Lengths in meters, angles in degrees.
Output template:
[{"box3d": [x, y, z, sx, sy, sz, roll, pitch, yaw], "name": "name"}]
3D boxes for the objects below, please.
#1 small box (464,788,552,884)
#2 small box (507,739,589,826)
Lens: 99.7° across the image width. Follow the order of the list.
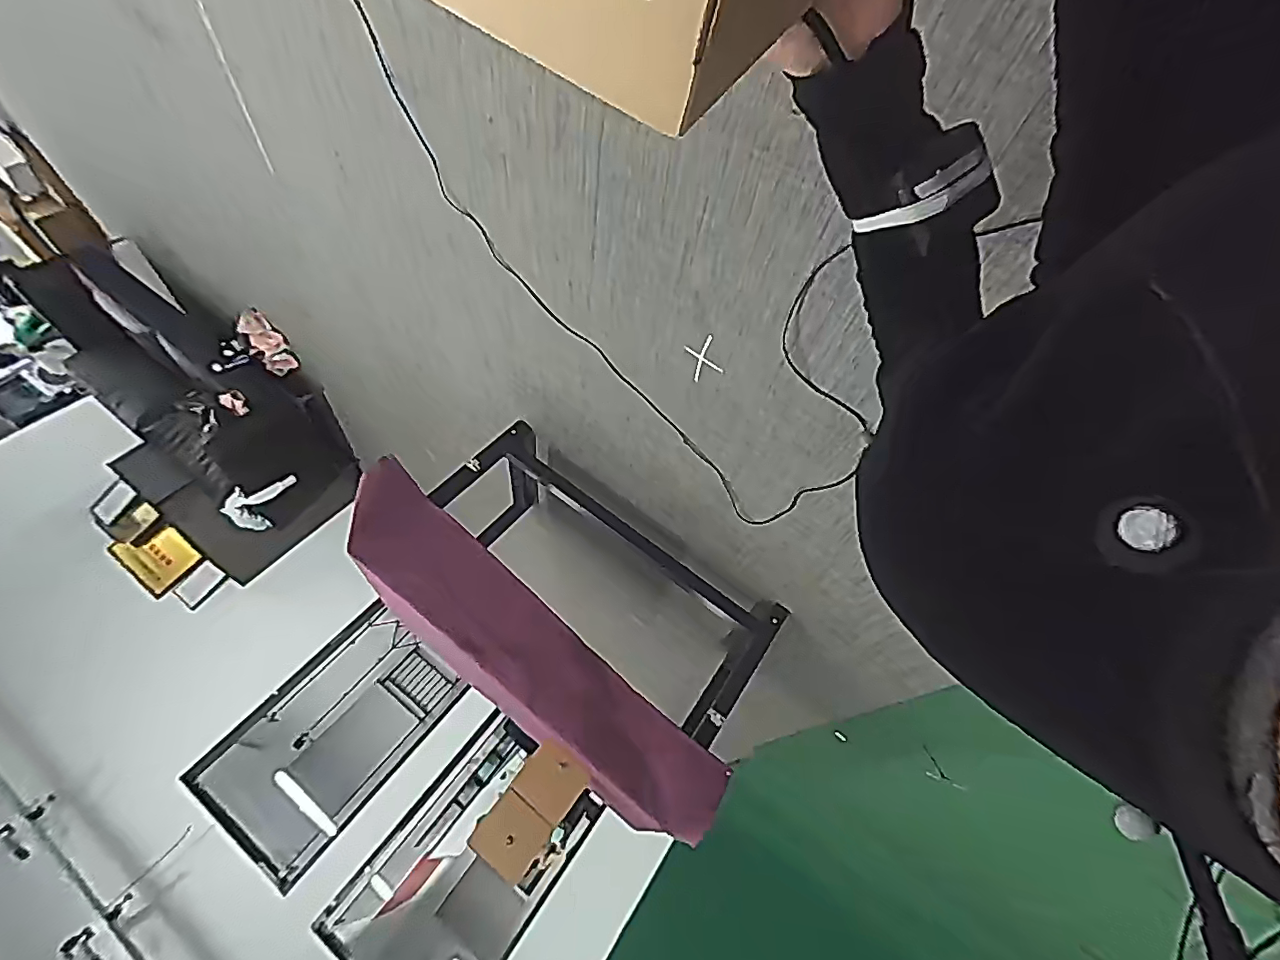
[{"box3d": [-0.374, 1.015, 1.556, 0.179, 0.176, 0.168, 34, 148, 14], "name": "small box"}, {"box3d": [-0.276, 0.912, 1.639, 0.179, 0.176, 0.168, 35, 149, 15], "name": "small box"}]
